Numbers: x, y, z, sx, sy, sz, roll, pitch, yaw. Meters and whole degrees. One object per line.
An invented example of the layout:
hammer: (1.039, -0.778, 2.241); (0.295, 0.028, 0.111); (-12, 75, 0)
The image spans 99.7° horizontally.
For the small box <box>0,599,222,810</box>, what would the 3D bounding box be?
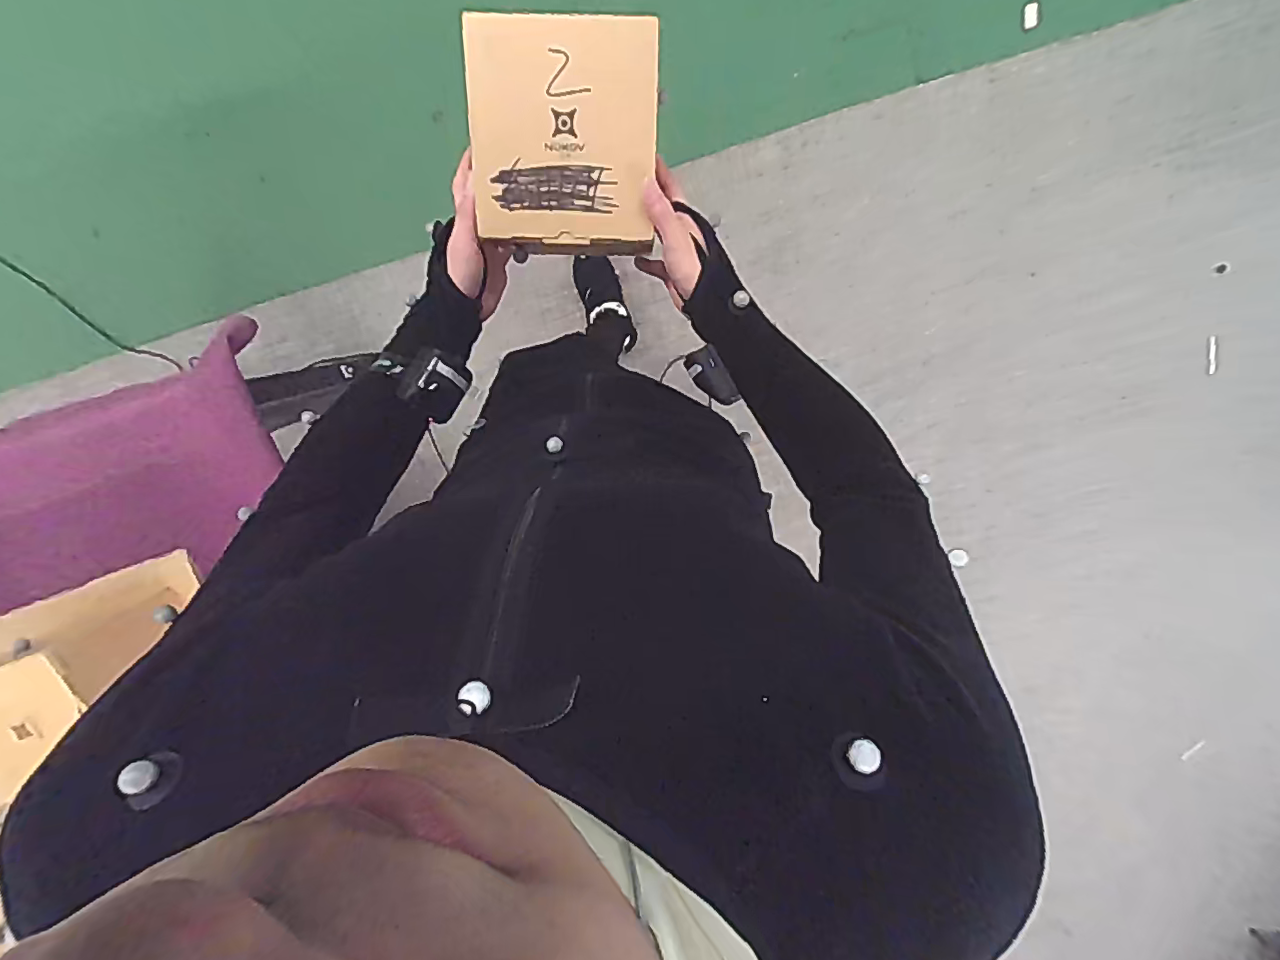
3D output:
small box: (-0.718, 0.284, 0.712); (0.179, 0.176, 0.168); (-19, 103, 5)

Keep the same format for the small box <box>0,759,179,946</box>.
small box: (-0.821, 0.536, 0.775); (0.179, 0.176, 0.168); (-19, 102, 6)
